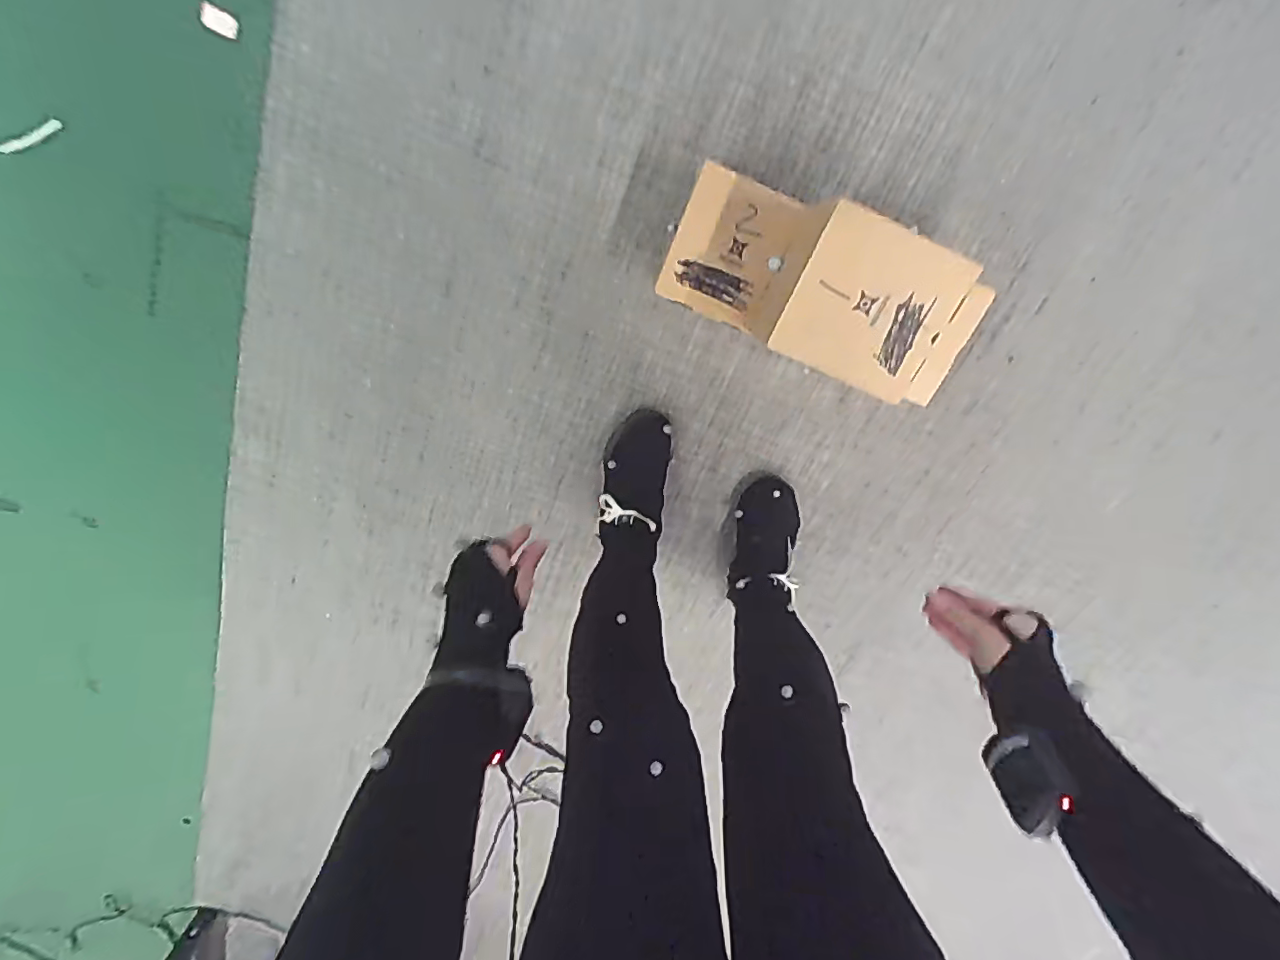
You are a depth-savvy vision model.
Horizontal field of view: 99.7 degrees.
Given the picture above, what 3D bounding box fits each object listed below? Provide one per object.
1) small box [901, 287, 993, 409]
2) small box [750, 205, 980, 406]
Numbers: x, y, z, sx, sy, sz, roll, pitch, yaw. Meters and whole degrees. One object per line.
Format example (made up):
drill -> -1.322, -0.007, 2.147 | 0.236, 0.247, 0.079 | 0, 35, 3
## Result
small box -> 0.381, -0.237, 0.832 | 0.168, 0.176, 0.179 | 21, 112, -6
small box -> 0.257, -0.216, 0.668 | 0.179, 0.176, 0.168 | 22, 112, -6
